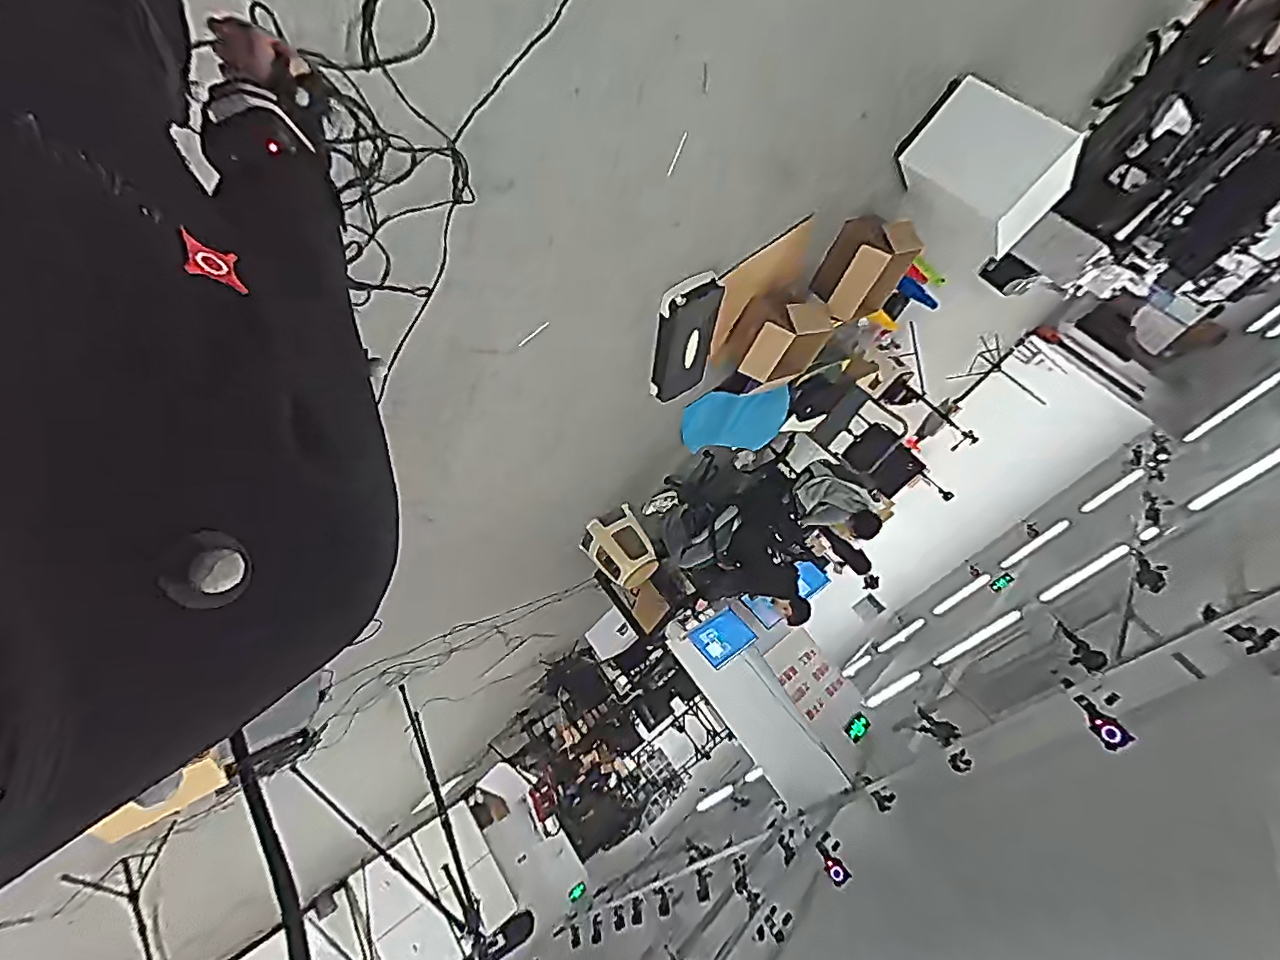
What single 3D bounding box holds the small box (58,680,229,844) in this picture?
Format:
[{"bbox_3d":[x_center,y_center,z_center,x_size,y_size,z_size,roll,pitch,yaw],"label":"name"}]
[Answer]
[{"bbox_3d":[-0.834,0.469,0.917,0.168,0.176,0.179,-20,152,-38],"label":"small box"}]
